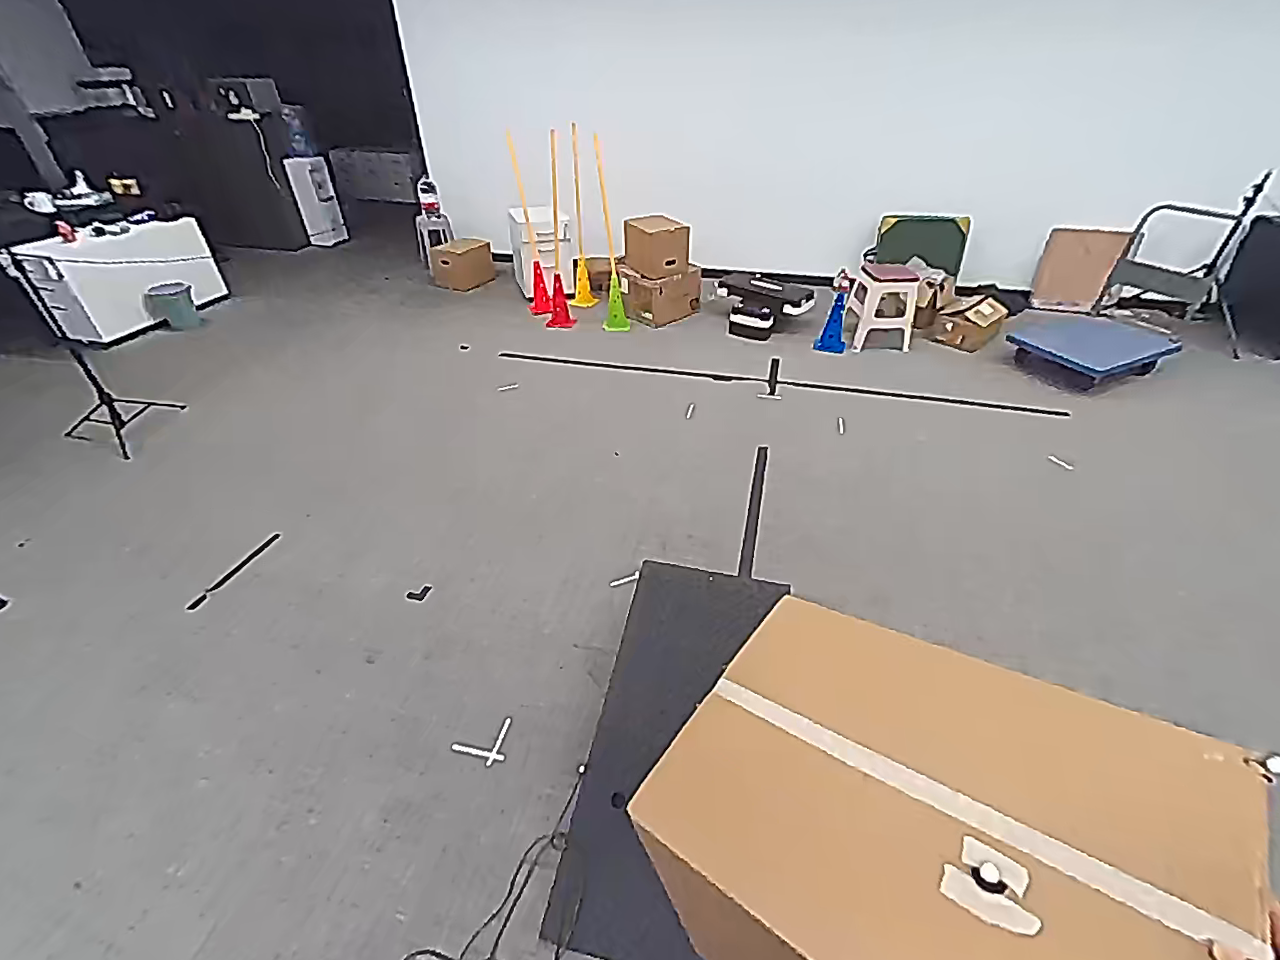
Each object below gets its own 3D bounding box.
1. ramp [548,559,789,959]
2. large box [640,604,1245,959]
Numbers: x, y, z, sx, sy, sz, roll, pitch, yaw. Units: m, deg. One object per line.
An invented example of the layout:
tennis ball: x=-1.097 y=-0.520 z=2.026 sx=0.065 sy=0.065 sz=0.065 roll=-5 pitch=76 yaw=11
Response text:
ramp: x=0.140 y=0.665 z=1.474 sx=0.509 sy=0.206 sz=0.991 roll=8 pitch=38 yaw=8
large box: x=0.272 y=0.390 z=0.544 sx=0.408 sy=0.320 sz=0.320 roll=13 pitch=41 yaw=41
